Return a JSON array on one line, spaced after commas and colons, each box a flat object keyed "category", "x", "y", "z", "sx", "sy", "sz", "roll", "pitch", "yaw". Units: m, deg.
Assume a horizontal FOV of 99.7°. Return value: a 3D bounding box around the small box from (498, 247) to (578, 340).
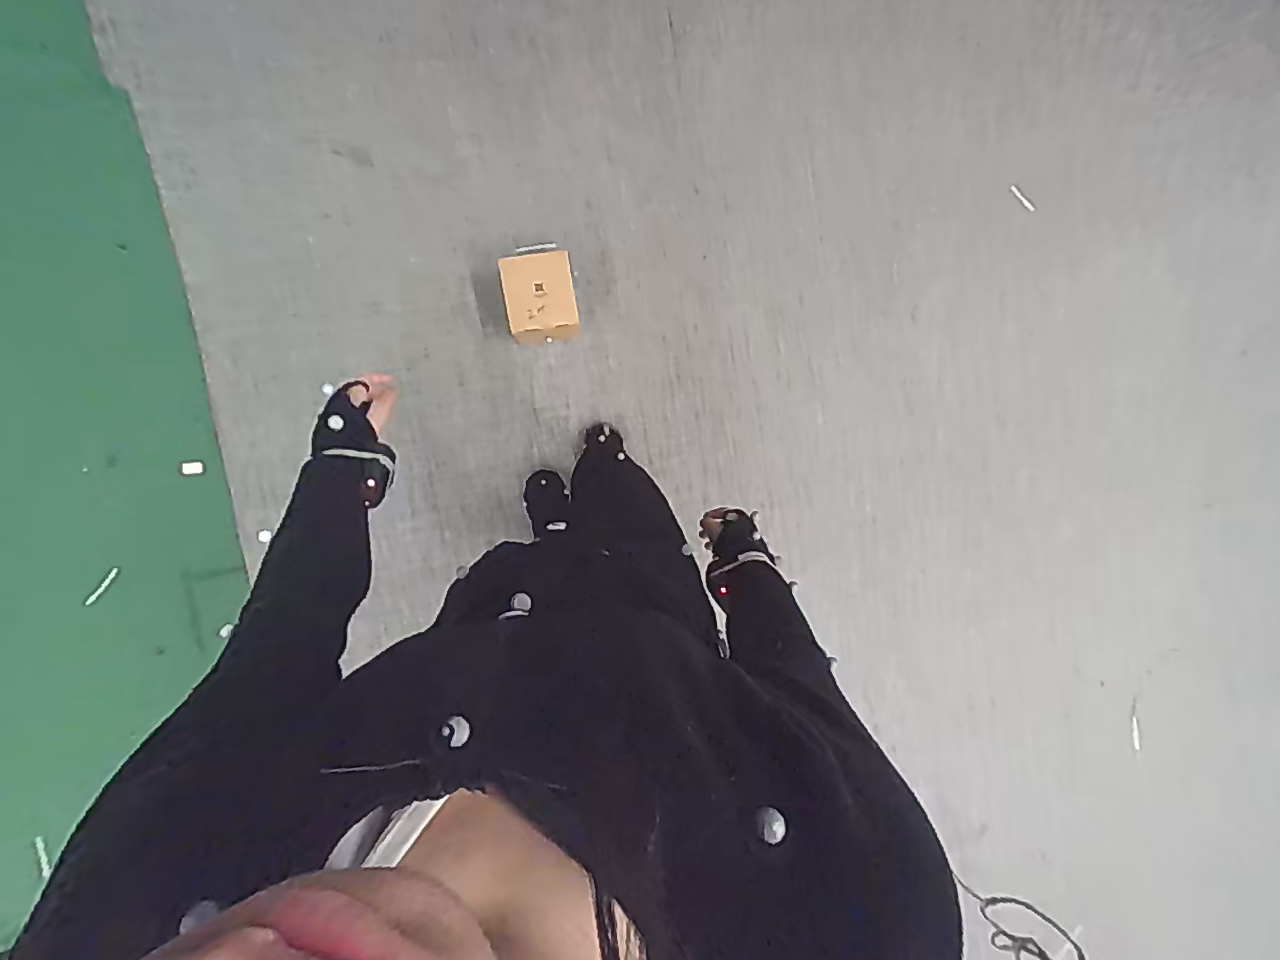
[{"category": "small box", "x": -0.251, "y": -0.460, "z": 1.352, "sx": 0.168, "sy": 0.176, "sz": 0.179, "roll": -10, "pitch": 97, "yaw": -5}]
